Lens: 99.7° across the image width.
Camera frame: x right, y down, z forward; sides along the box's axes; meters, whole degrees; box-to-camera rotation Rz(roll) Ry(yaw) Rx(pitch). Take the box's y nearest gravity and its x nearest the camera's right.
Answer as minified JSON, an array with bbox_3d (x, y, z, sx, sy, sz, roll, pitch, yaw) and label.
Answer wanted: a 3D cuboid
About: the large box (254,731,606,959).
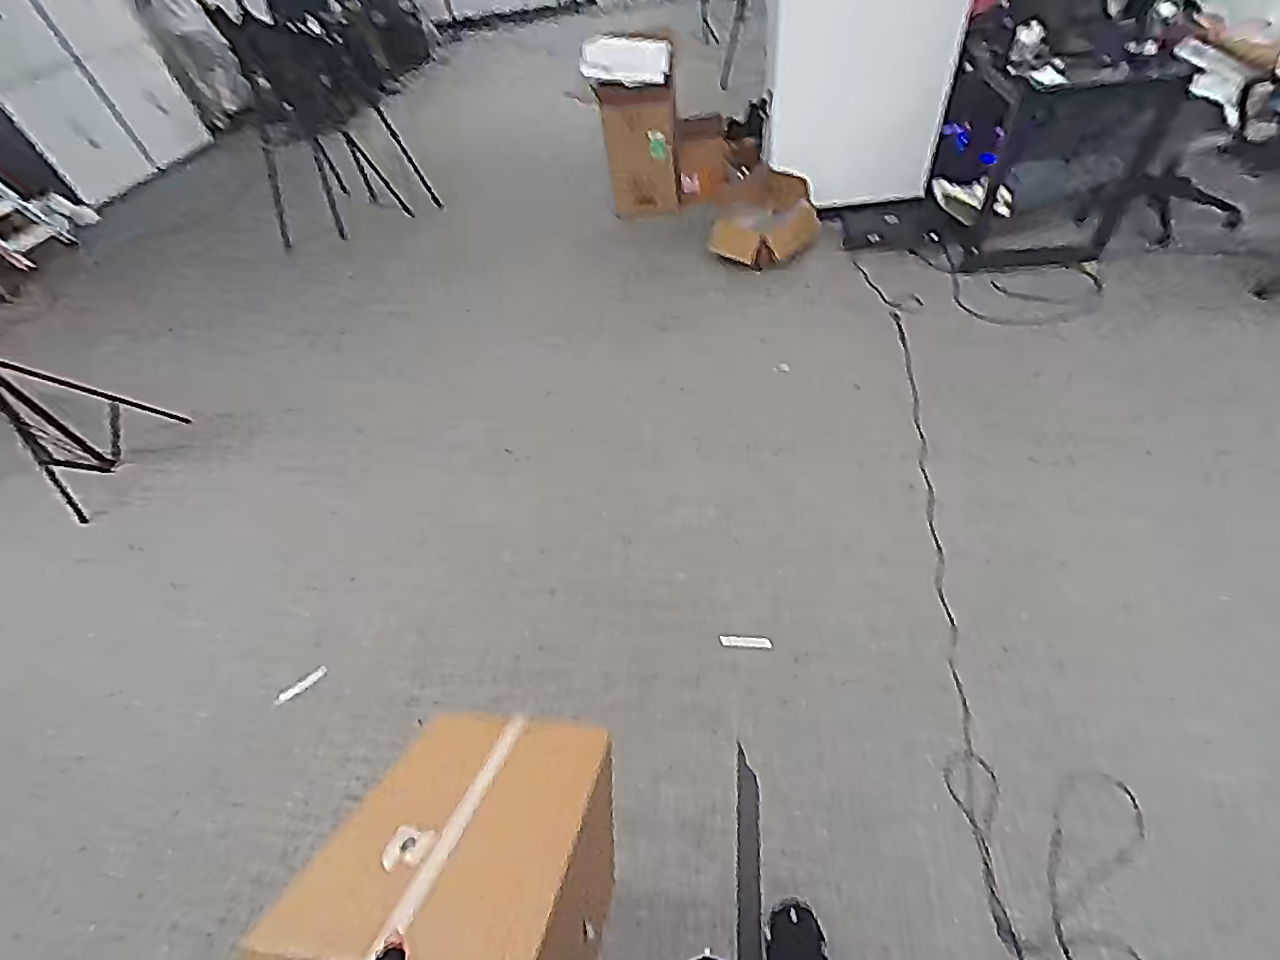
[{"bbox_3d":[-0.234,0.626,0.766,0.320,0.320,0.408,0,10,9],"label":"large box"}]
